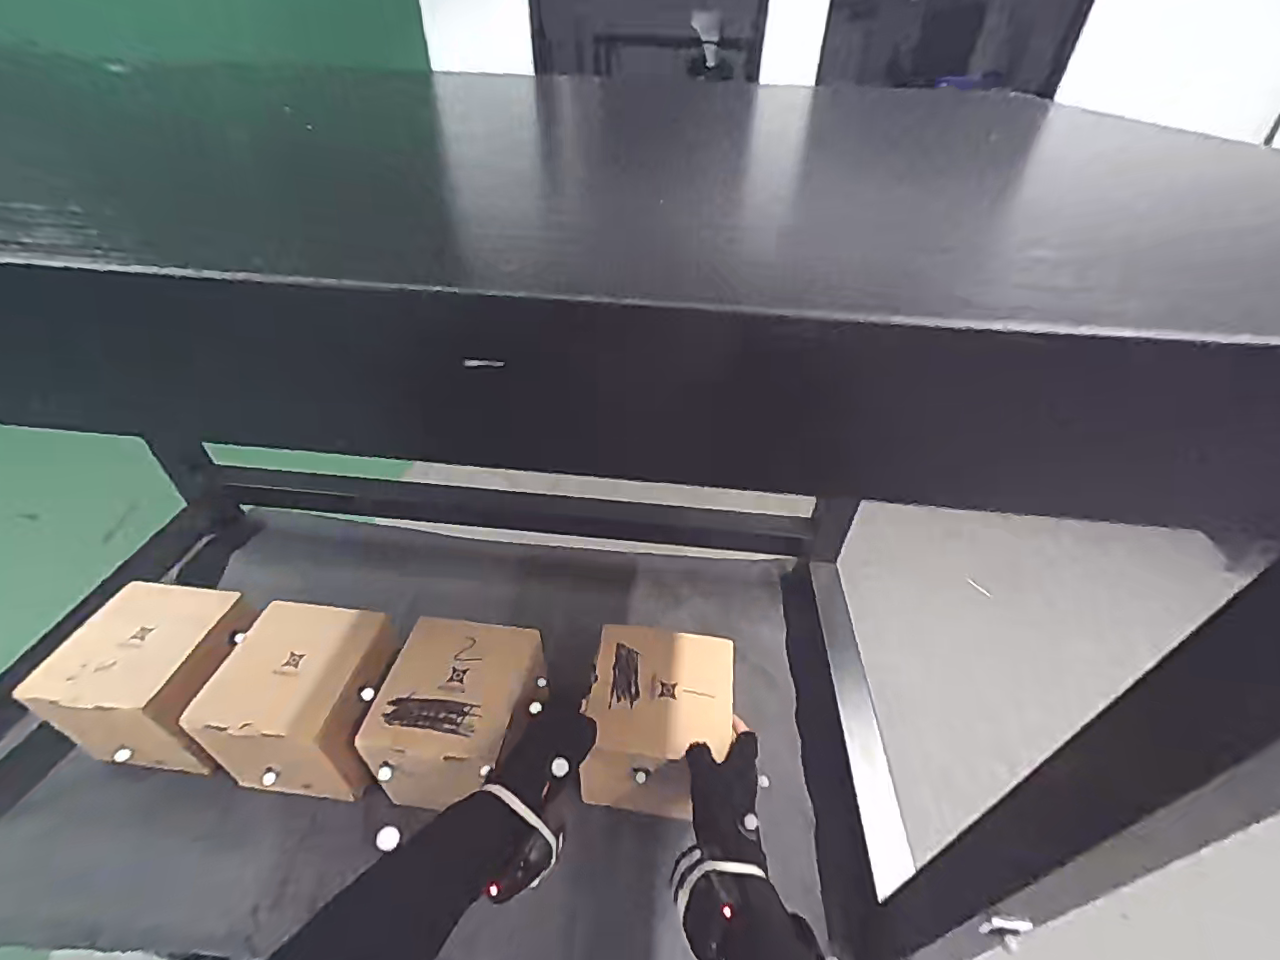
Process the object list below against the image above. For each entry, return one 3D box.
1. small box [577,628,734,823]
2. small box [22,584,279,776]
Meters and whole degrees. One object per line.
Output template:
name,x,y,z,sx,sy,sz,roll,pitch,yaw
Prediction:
small box,0.023,0.321,0.708,0.179,0.176,0.168,7,40,5
small box,-0.637,0.270,0.740,0.168,0.176,0.179,5,39,4
